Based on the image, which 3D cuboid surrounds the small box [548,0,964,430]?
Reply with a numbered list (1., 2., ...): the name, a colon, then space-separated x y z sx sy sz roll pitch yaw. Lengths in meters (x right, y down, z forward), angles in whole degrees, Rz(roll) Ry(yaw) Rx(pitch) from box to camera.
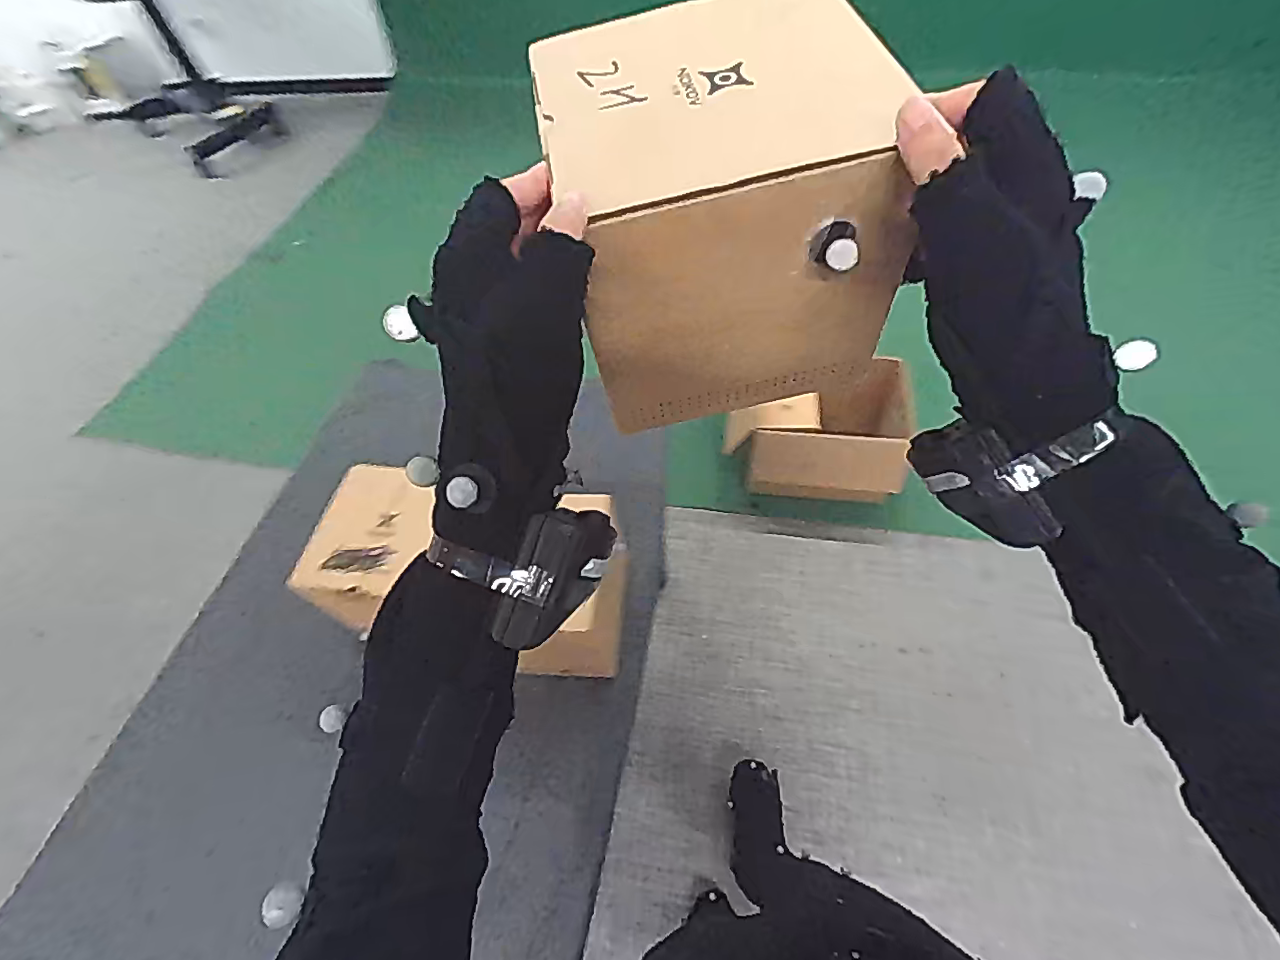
1. small box: 0.053 -0.154 0.338 0.179 0.176 0.168 -11 61 3
